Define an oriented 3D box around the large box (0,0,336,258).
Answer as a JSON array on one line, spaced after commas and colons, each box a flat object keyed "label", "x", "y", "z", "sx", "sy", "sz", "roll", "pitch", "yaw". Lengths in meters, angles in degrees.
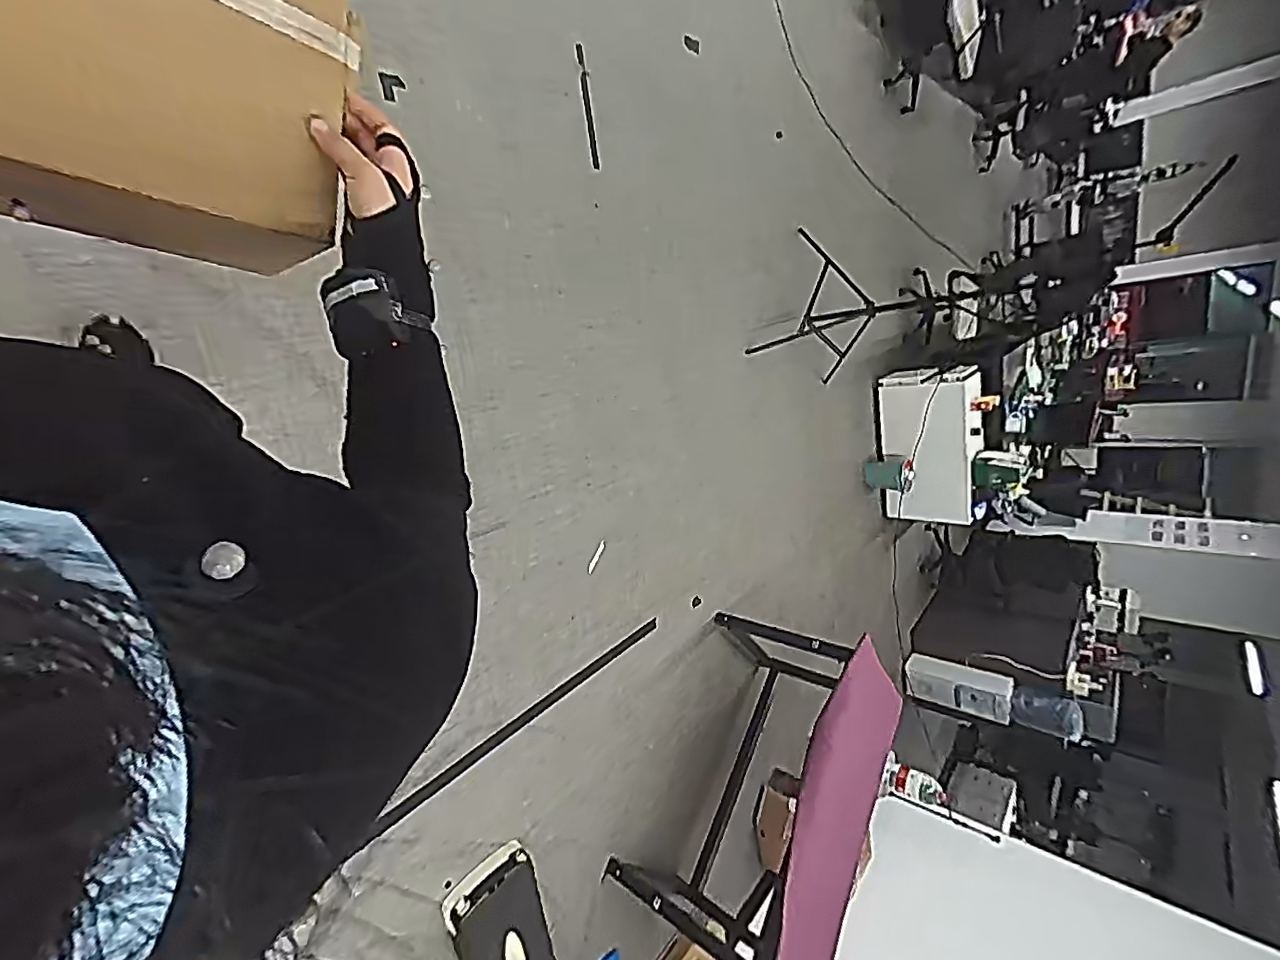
[{"label": "large box", "x": -0.501, "y": -0.398, "z": 0.433, "sx": 0.408, "sy": 0.320, "sz": 0.320, "roll": 1, "pitch": 100, "yaw": -42}]
